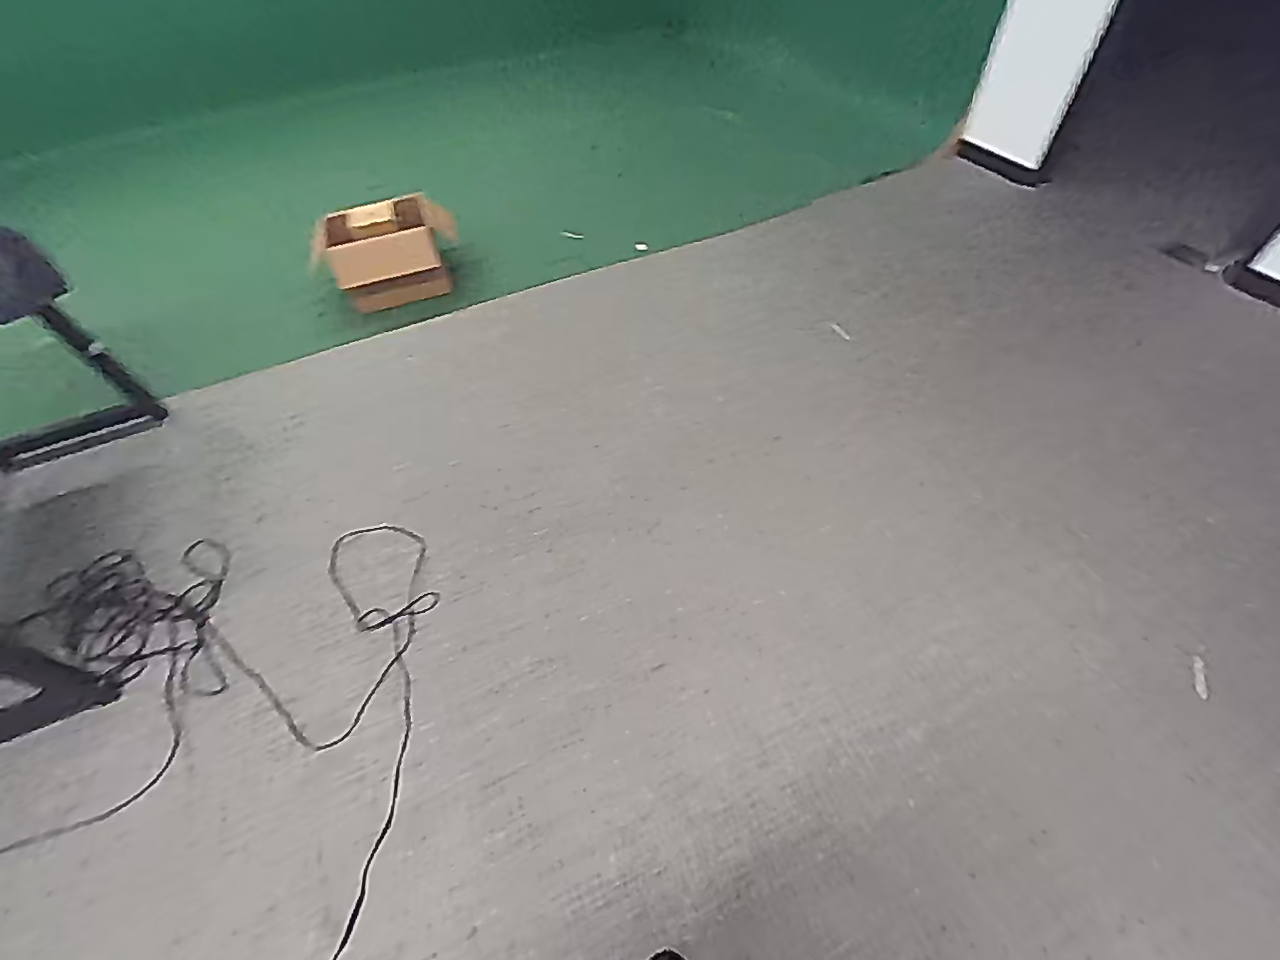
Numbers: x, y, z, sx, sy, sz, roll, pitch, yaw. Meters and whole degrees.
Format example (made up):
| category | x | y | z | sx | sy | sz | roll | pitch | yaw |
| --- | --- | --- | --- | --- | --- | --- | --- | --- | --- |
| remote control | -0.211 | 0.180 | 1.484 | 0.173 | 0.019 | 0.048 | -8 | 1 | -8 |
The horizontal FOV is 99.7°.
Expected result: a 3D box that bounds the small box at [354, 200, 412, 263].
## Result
| category | x | y | z | sx | sy | sz | roll | pitch | yaw |
| --- | --- | --- | --- | --- | --- | --- | --- | --- | --- |
| small box | -1.062 | -1.028 | 2.240 | 0.168 | 0.176 | 0.179 | -17 | 52 | -9 |
